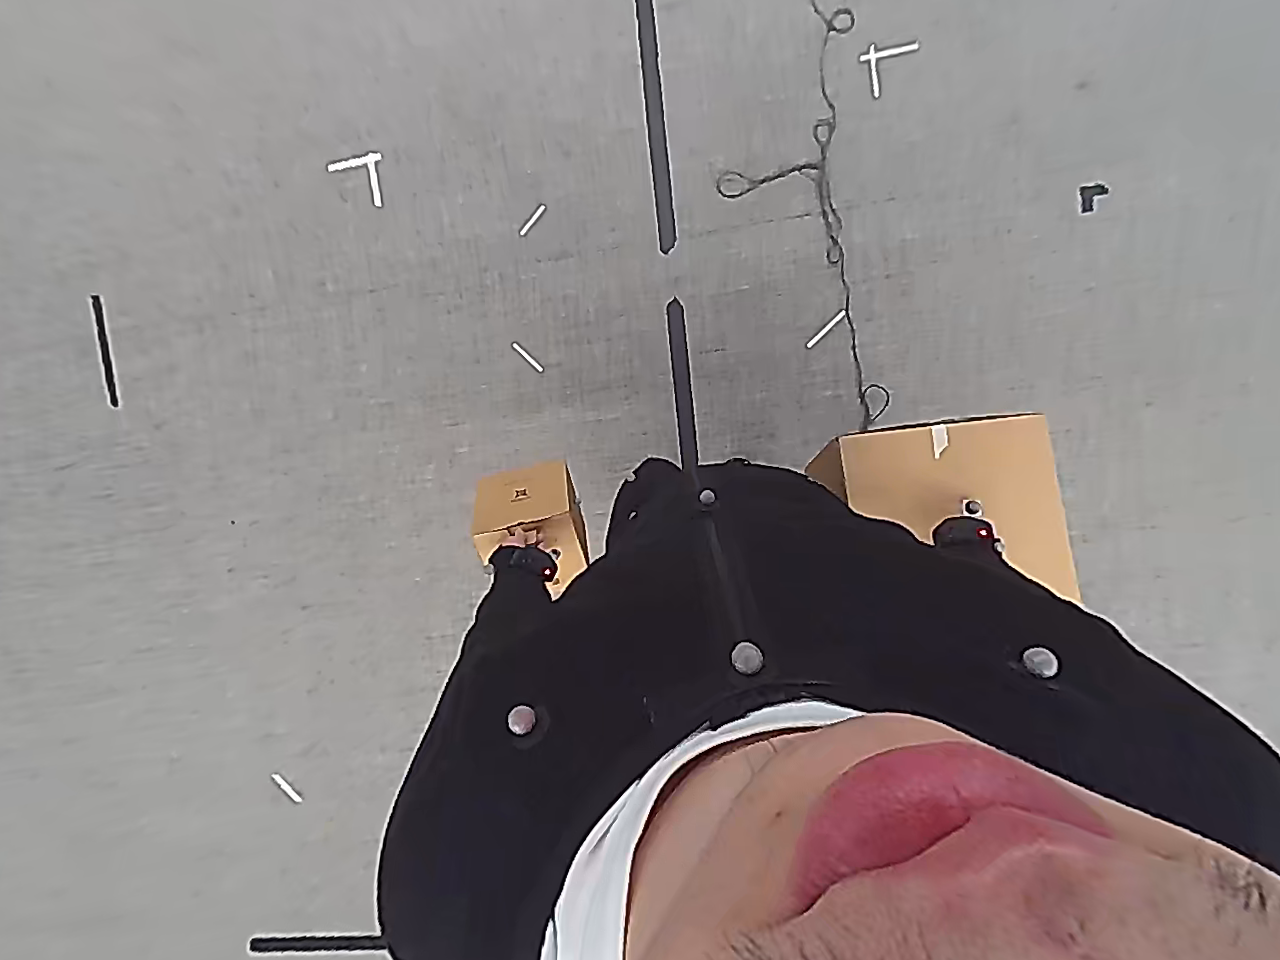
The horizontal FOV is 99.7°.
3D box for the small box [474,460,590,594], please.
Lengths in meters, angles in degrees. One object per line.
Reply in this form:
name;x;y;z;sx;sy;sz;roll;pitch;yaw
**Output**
small box;-0.194;0.092;1.000;0.168;0.179;0.176;-13;124;-3
